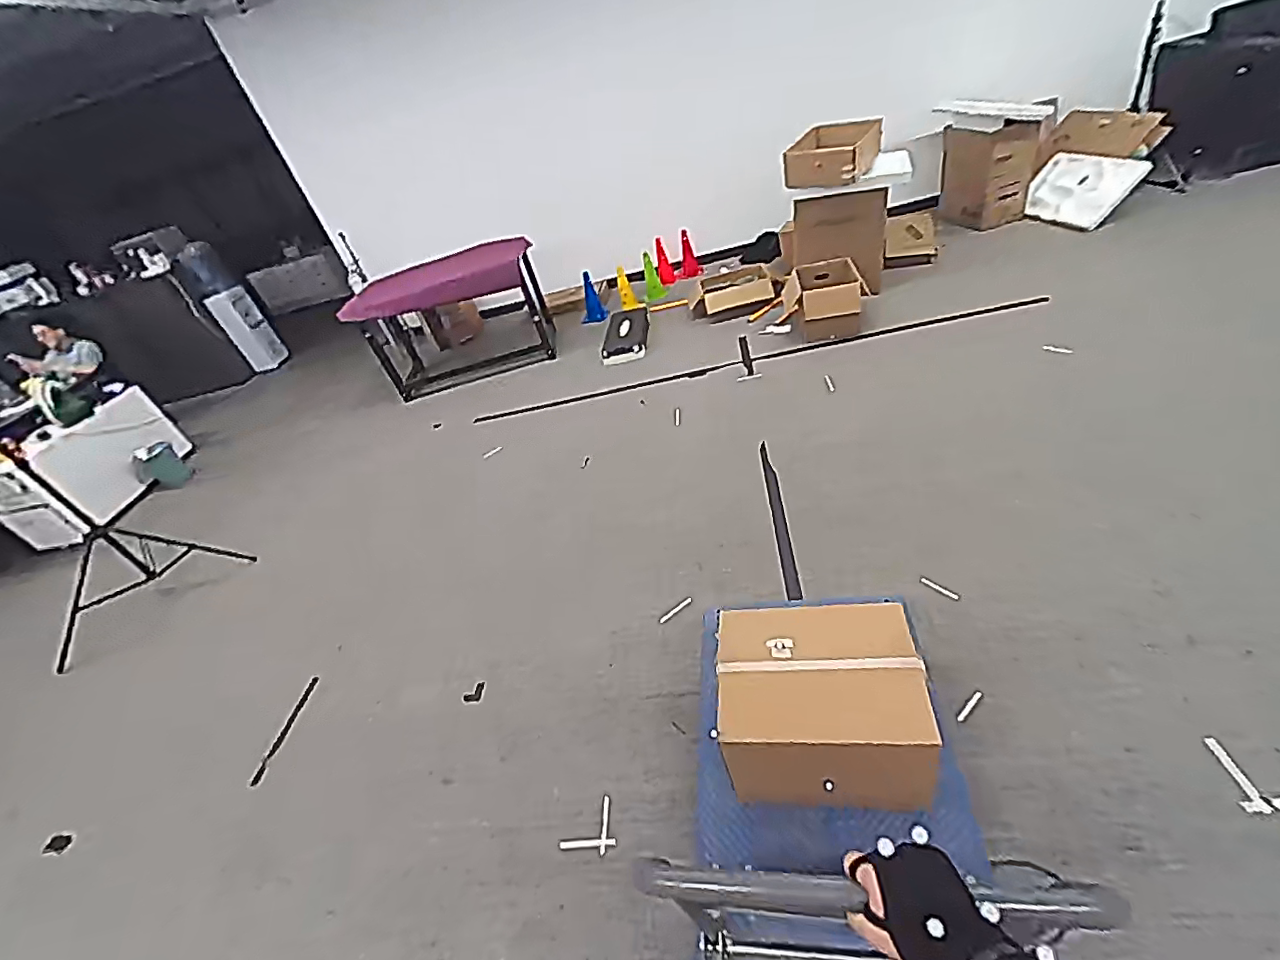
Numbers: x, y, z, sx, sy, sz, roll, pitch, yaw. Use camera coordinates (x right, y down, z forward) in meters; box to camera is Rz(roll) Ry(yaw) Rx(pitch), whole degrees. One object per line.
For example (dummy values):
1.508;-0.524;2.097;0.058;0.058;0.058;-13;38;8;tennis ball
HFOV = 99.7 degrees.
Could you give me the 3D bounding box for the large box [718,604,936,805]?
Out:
0.404;0.515;1.228;0.408;0.320;0.320;-8;37;15;large box
